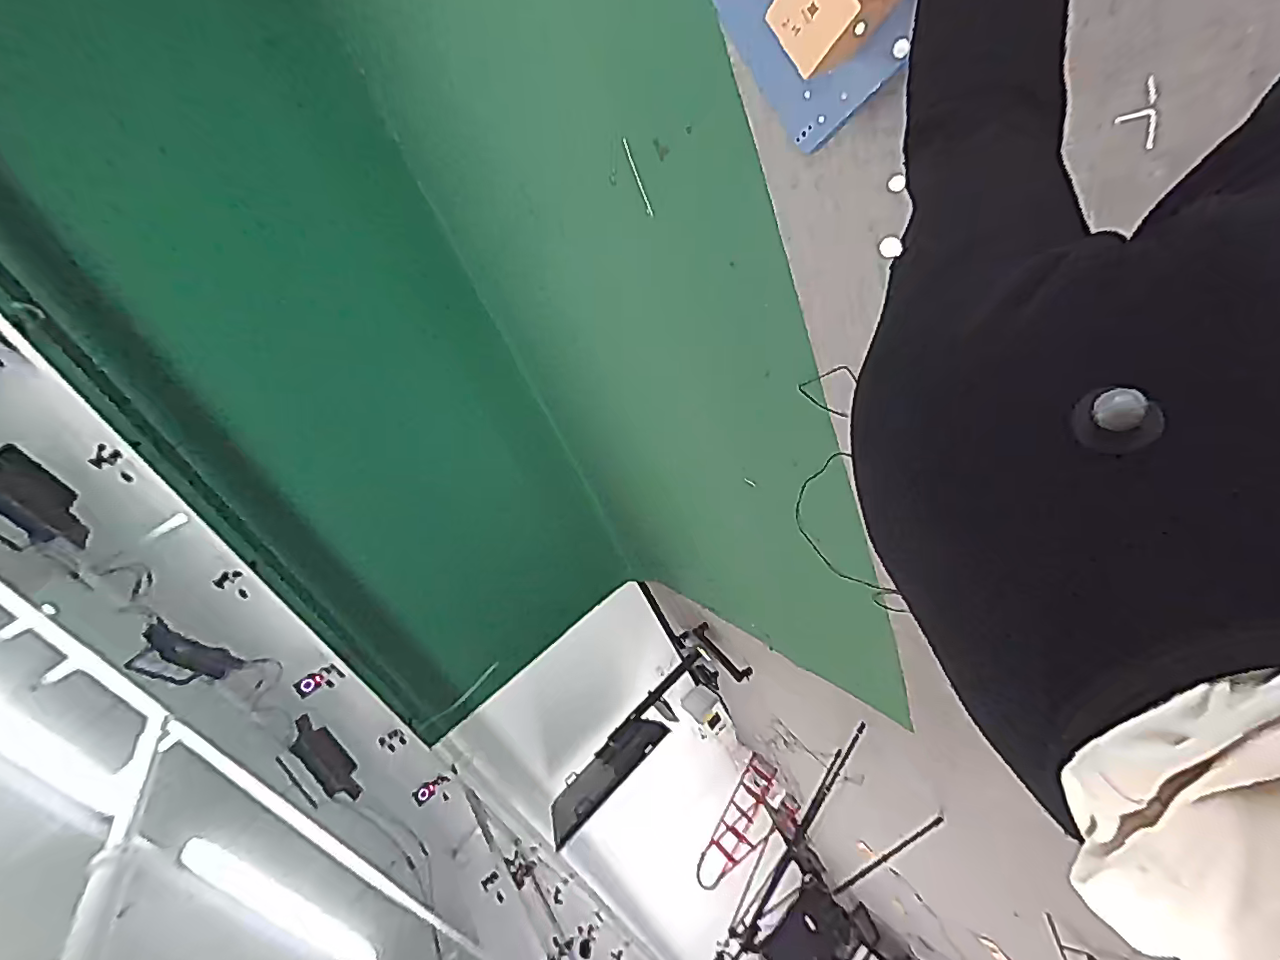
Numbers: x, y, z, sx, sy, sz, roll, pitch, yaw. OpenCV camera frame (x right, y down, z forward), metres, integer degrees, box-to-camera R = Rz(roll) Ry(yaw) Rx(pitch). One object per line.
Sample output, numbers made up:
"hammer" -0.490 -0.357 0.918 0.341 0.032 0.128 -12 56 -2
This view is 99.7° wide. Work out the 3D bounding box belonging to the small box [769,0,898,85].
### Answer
"small box" 0.420 -1.008 1.156 0.168 0.176 0.179 55 158 -5
